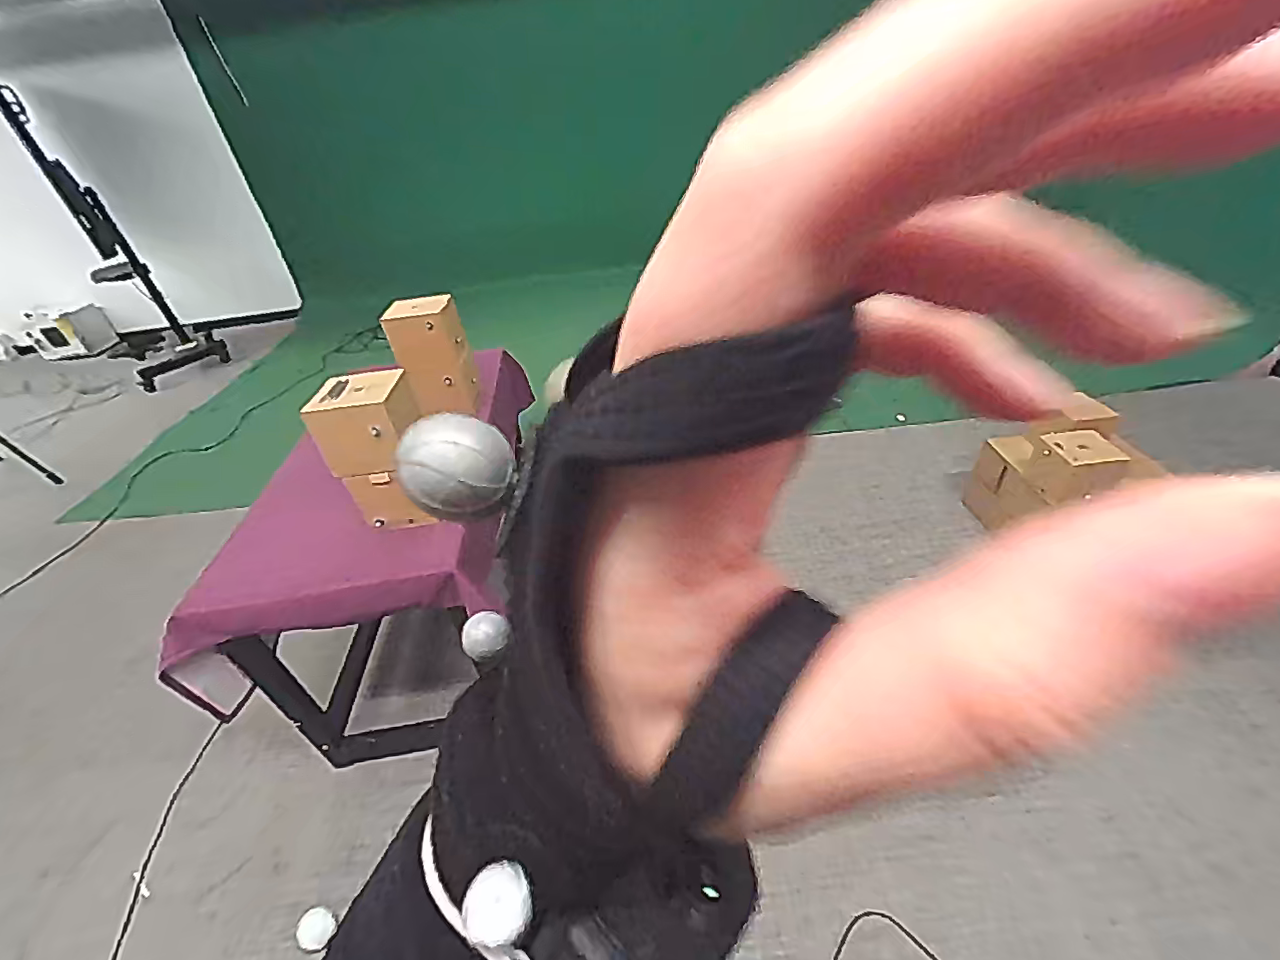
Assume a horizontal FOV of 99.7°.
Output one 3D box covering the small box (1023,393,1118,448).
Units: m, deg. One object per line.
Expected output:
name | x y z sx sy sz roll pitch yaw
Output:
small box | 1.498 -0.185 1.896 0.168 0.176 0.179 -6 36 -2

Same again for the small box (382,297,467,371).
small box | -0.646 -0.440 1.642 0.179 0.176 0.168 -7 37 0

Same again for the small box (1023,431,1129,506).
small box | 1.366 -0.035 1.710 0.179 0.176 0.168 -5 37 1

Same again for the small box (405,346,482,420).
small box | -0.621 -0.309 1.736 0.179 0.176 0.168 -8 36 0

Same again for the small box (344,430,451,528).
small box | -0.578 0.002 1.317 0.168 0.176 0.179 -8 36 -1
